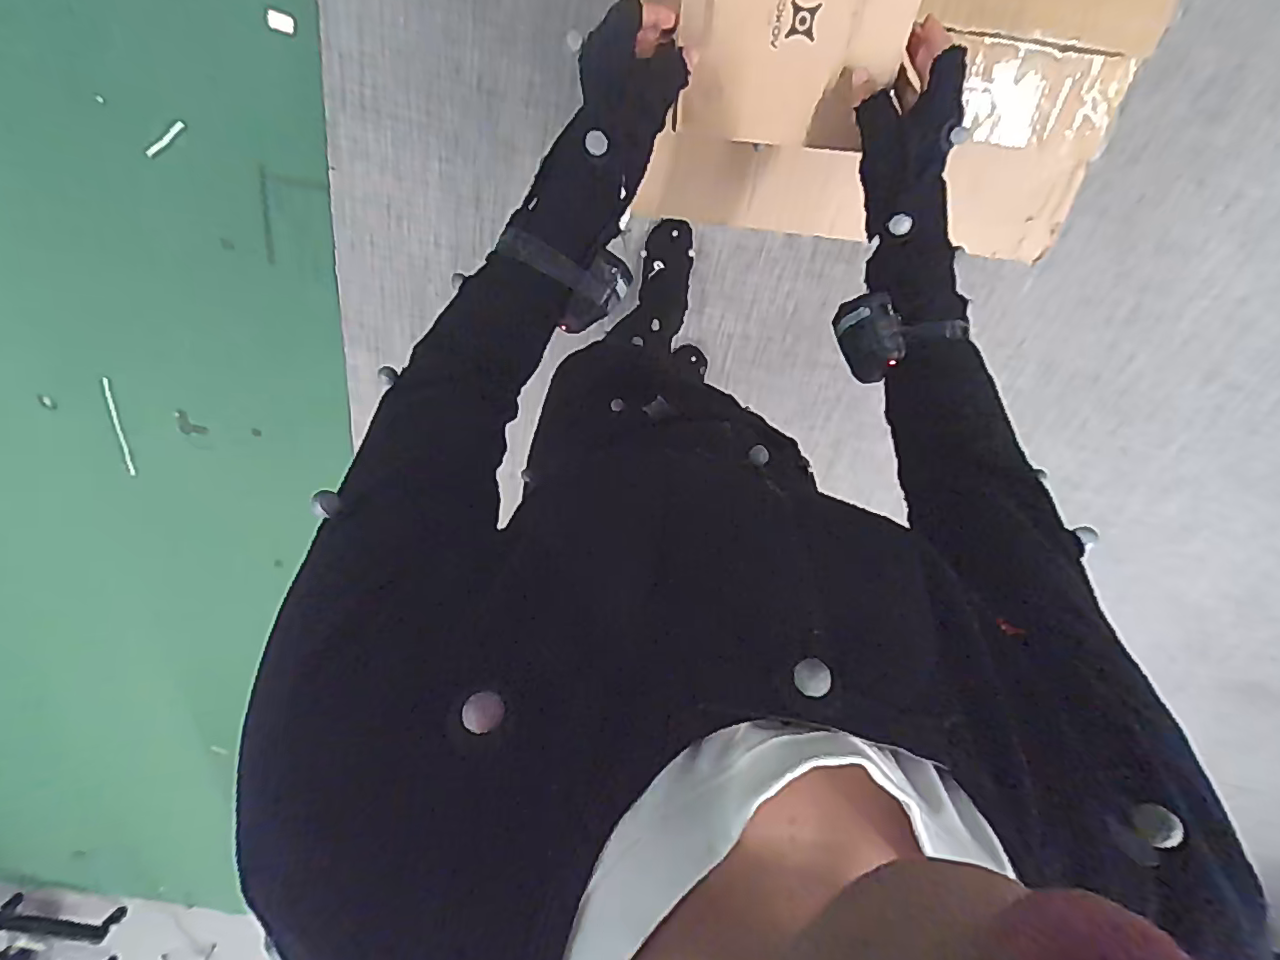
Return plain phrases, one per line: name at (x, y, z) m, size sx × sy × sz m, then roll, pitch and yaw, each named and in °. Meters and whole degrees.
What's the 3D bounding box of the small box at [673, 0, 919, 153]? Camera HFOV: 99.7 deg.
small box at (0.124, -0.405, 0.471) m, size 0.179 × 0.176 × 0.168 m, roll 4°, pitch 134°, yaw -1°
